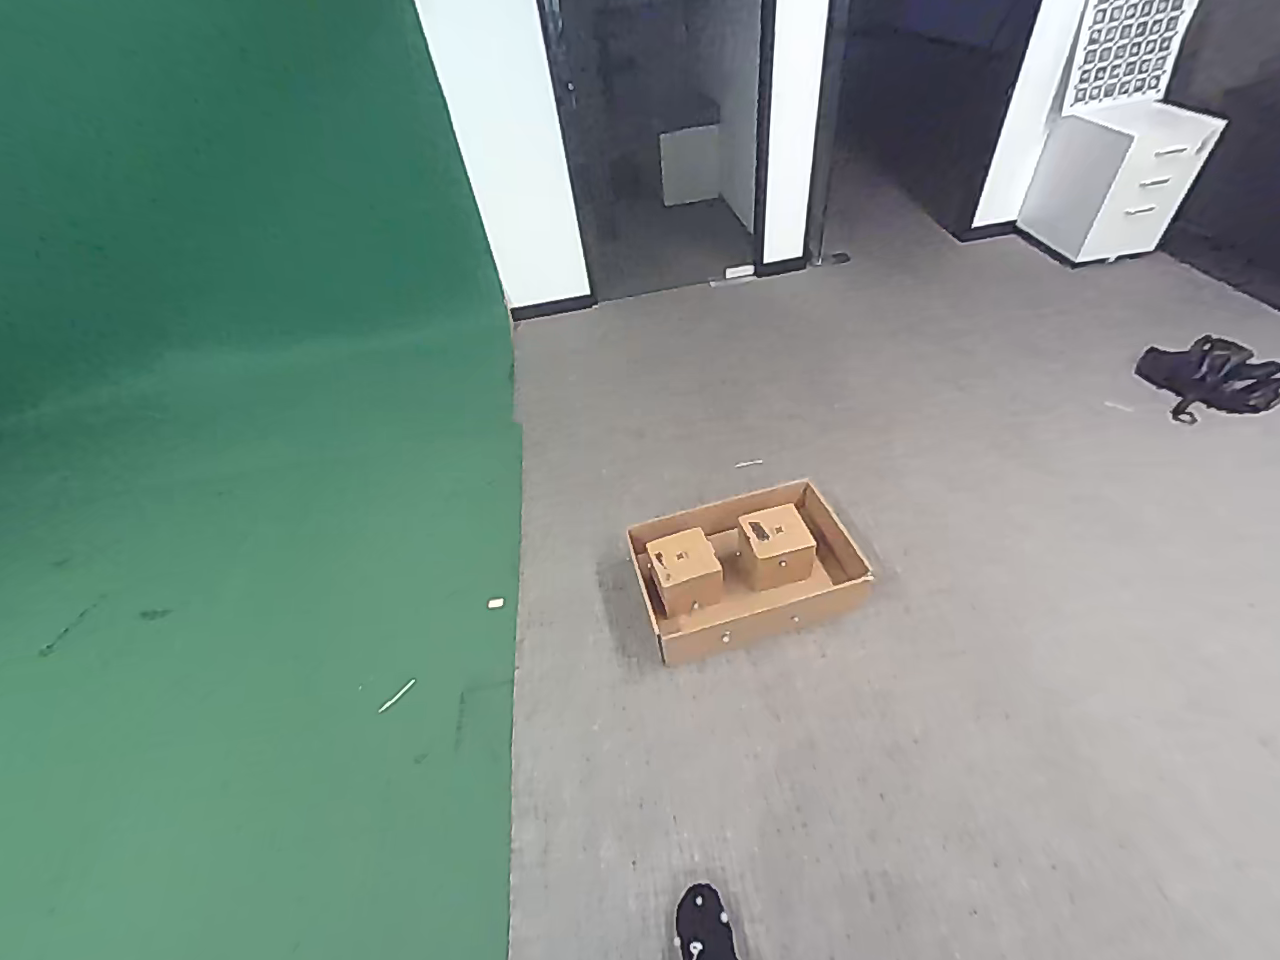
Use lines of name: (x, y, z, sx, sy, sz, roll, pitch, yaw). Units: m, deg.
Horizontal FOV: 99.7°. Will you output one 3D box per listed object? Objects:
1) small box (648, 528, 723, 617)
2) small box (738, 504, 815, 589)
small box: (0.132, 0.273, 1.589, 0.179, 0.176, 0.168, -16, 45, -9)
small box: (0.402, 0.202, 1.617, 0.179, 0.176, 0.168, -14, 46, -4)
